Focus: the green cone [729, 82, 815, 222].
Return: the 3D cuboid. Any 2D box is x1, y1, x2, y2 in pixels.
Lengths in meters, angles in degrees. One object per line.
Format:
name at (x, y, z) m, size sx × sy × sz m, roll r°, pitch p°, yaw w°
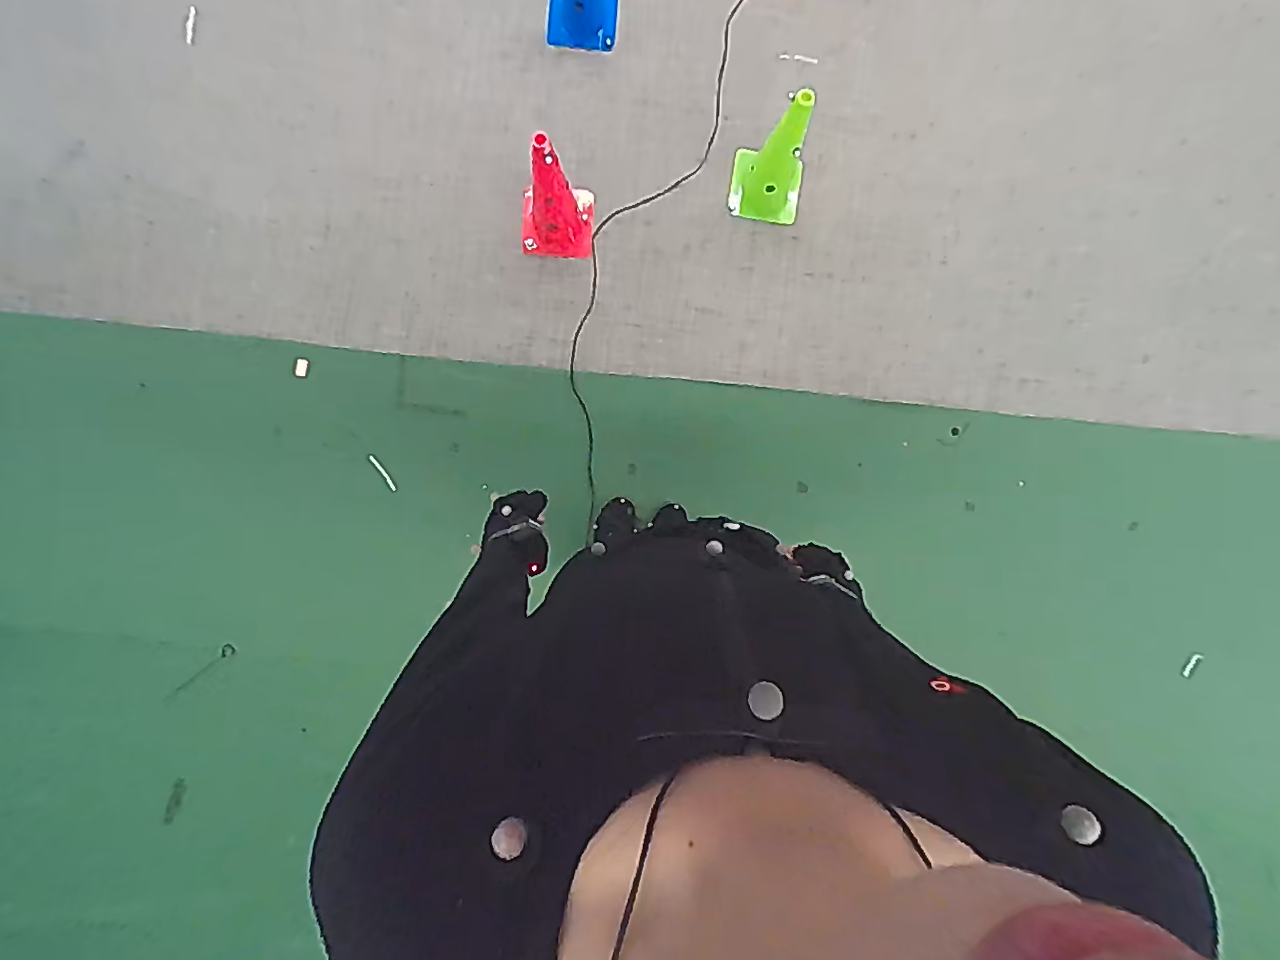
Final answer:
green cone at (0.373, -0.865, 1.399) m, size 0.200 × 0.368 × 0.202 m, roll 8°, pitch 86°, yaw -2°
